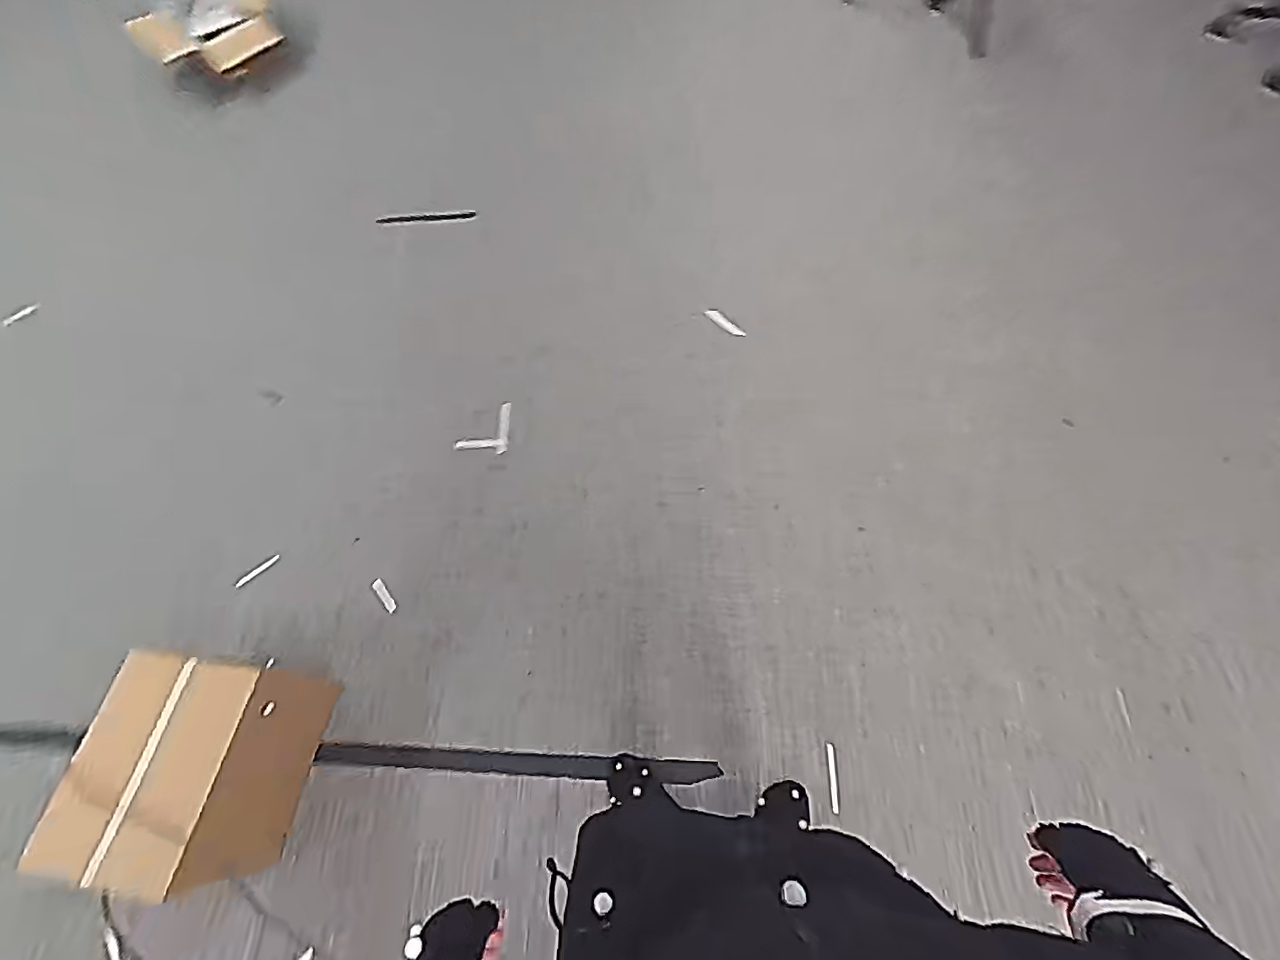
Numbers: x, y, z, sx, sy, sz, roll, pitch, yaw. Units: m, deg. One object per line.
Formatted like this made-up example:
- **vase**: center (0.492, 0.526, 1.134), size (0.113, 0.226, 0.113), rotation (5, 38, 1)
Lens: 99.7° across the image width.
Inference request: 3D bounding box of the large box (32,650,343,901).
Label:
- **large box**: center (-0.945, 0.620, 1.200), size (0.320, 0.320, 0.408), rotation (7, 66, 7)
